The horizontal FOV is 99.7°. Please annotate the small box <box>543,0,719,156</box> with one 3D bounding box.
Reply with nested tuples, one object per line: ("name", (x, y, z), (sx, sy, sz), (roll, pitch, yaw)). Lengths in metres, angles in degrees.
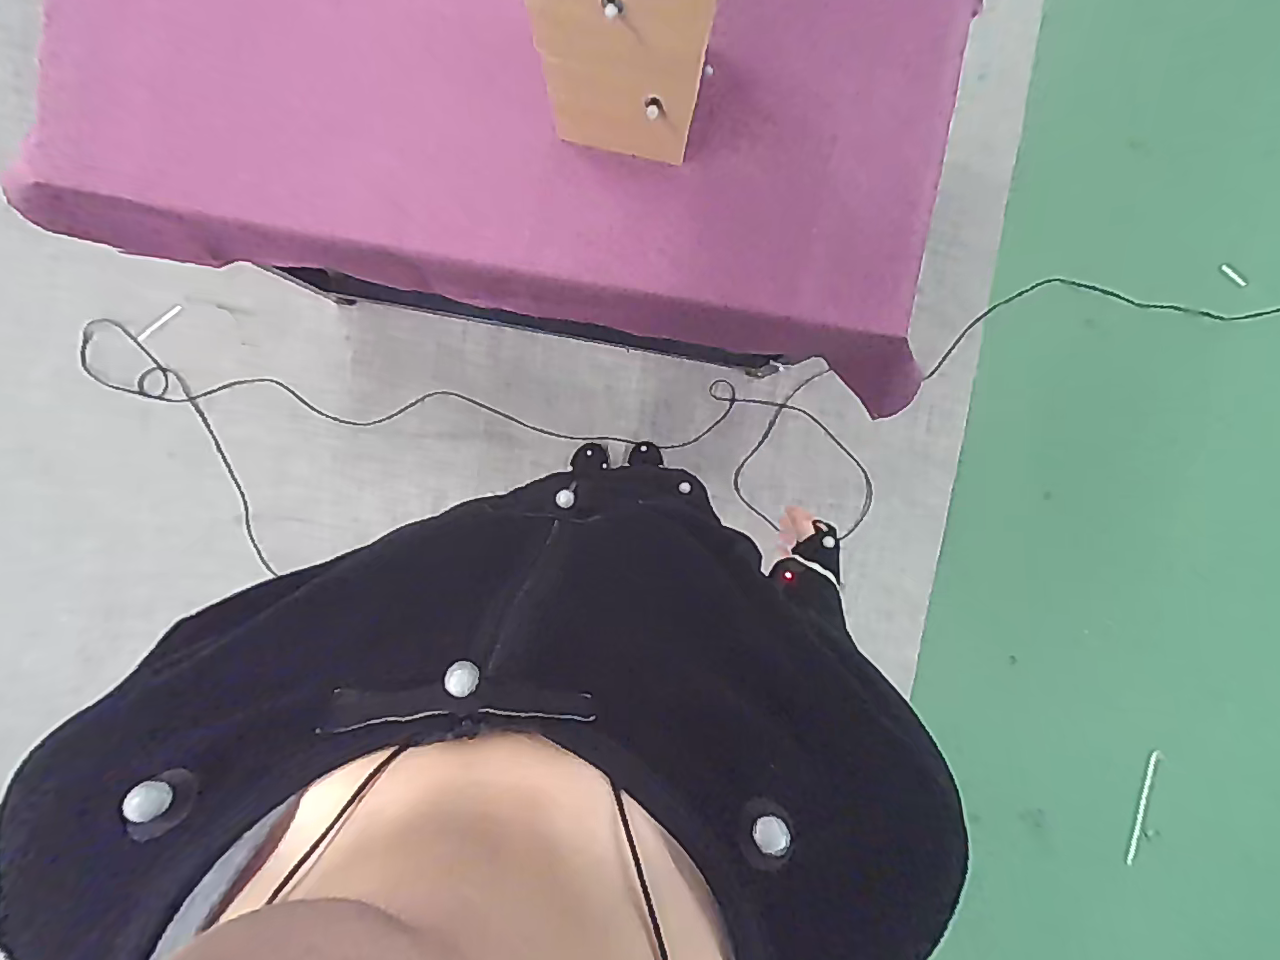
("small box", (-0.007, -0.525, 0.652), (0.179, 0.176, 0.168), (11, 94, -3))
